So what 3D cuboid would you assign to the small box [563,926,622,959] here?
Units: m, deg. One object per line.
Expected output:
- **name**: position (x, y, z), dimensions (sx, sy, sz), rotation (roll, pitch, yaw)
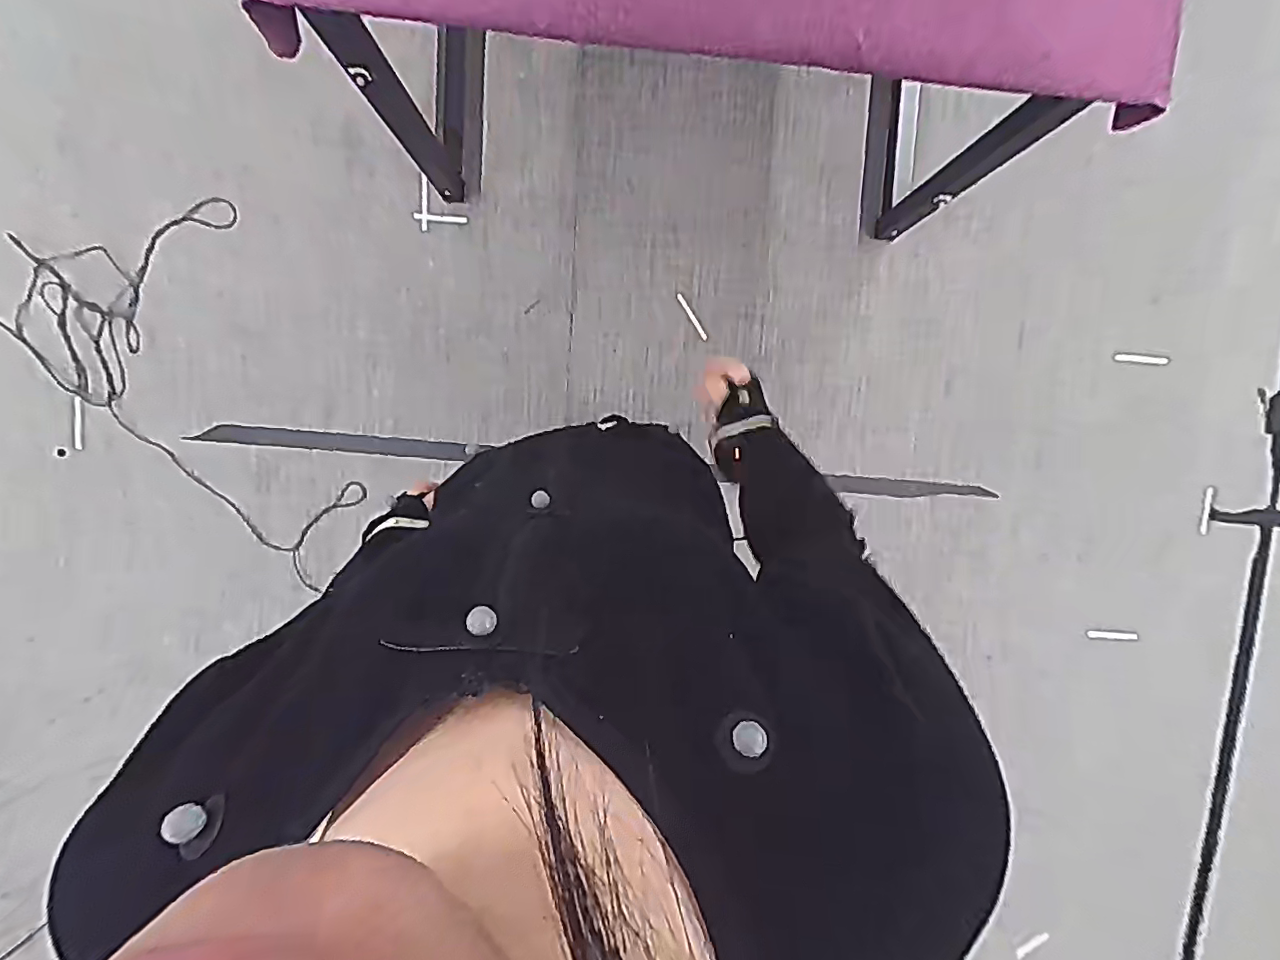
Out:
- **small box**: position (-0.142, 1.417, 1.532), dimensions (0.168, 0.176, 0.179), rotation (6, 96, -2)
